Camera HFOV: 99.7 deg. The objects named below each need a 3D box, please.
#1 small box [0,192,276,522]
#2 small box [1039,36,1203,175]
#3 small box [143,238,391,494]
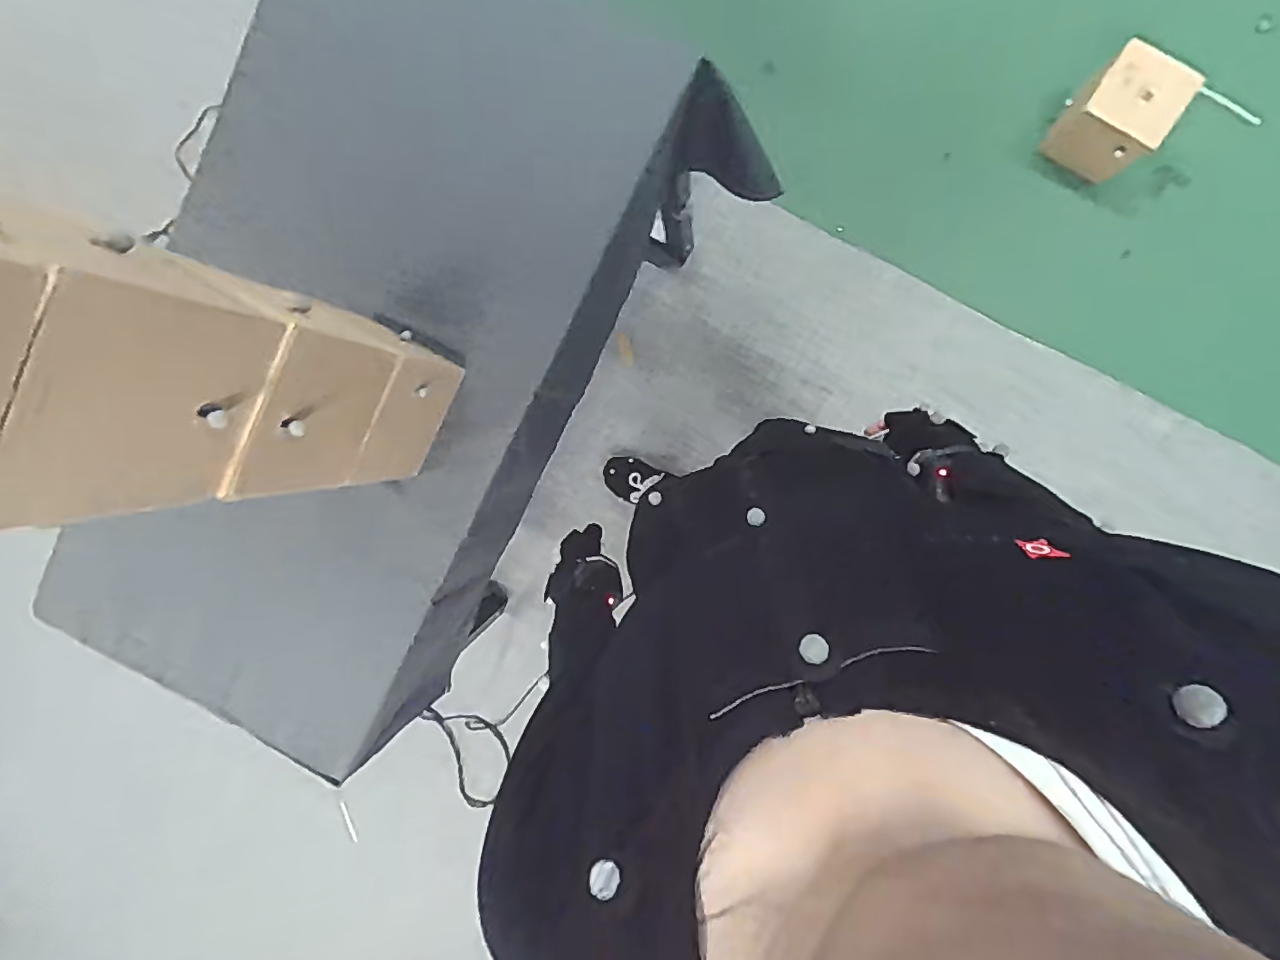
[{"bbox_3d":[-0.417,-0.092,0.396,0.168,0.176,0.179,30,97,4],"label":"small box"},{"bbox_3d":[1.069,-0.826,1.218,0.179,0.176,0.168,32,97,3],"label":"small box"},{"bbox_3d":[-0.392,-0.107,0.557,0.168,0.176,0.179,28,98,4],"label":"small box"}]
